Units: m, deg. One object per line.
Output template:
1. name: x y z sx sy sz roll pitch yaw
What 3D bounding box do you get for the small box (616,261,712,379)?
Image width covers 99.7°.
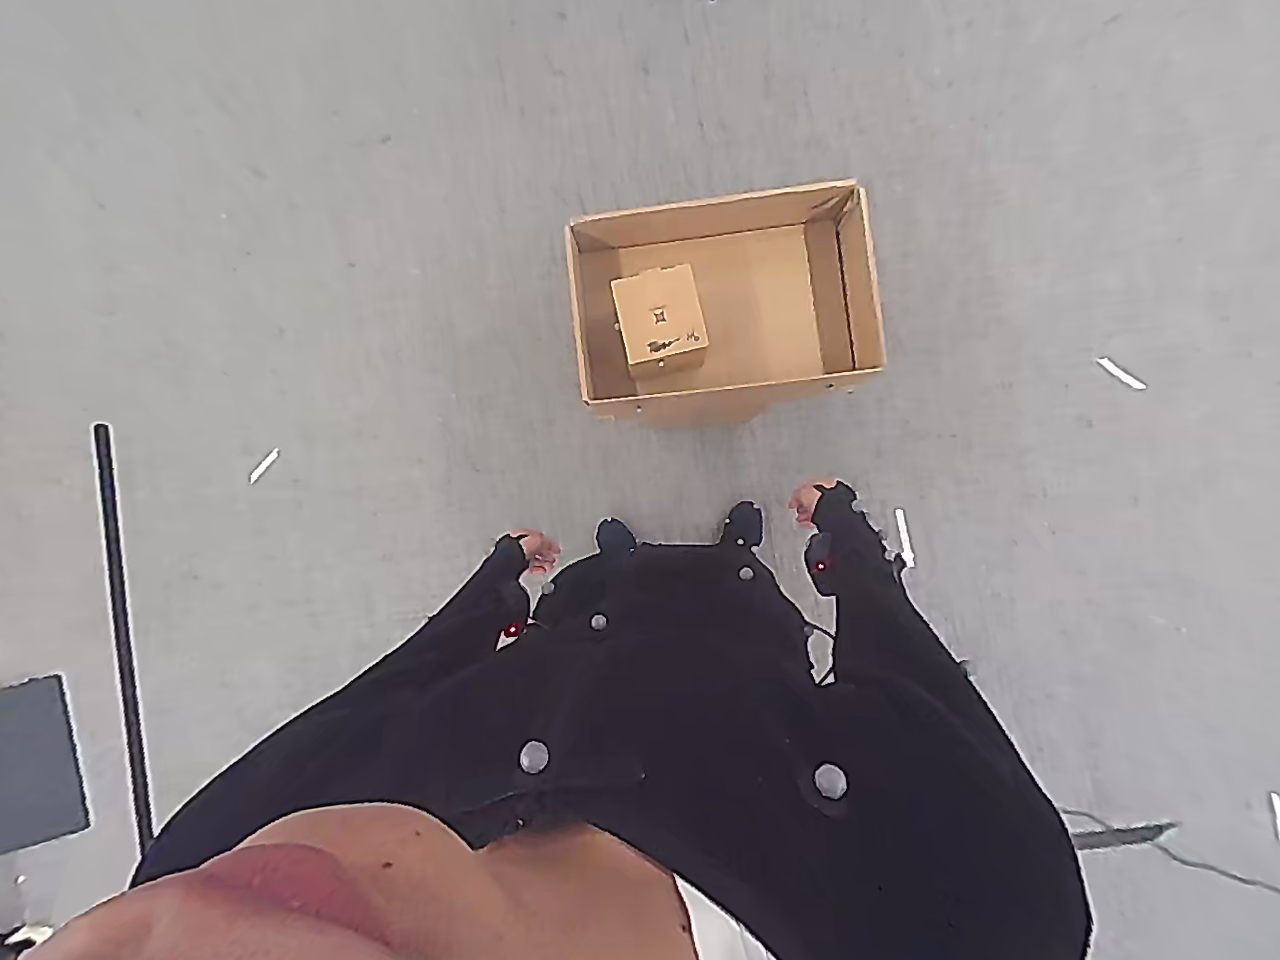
1. small box: 0.050 -0.332 1.150 0.168 0.176 0.179 -13 87 3
